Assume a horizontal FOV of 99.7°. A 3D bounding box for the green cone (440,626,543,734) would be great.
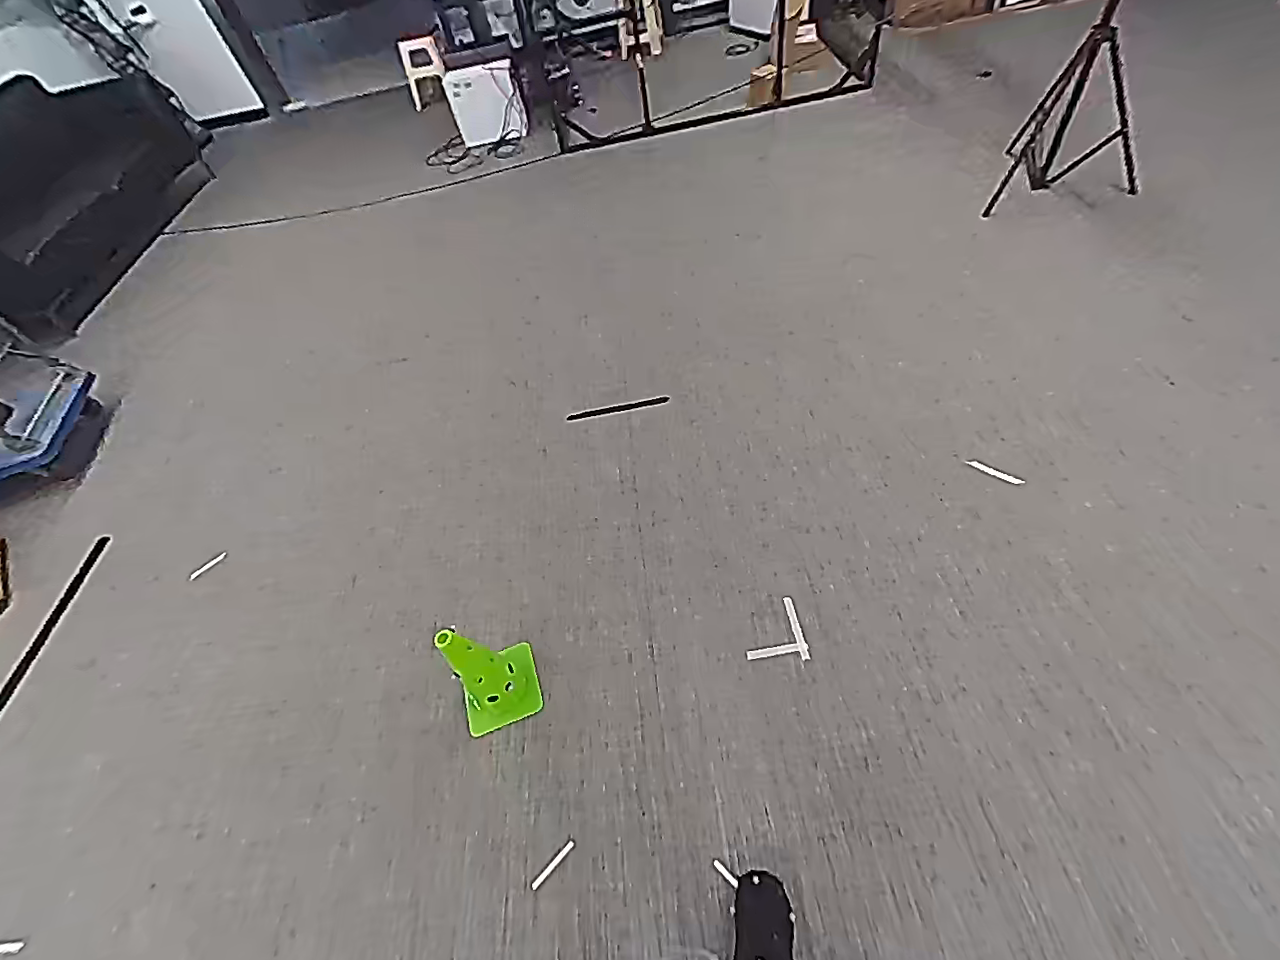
[{"bbox_3d":[-0.397,0.451,1.317,0.202,0.368,0.200,-21,52,-6],"label":"green cone"}]
